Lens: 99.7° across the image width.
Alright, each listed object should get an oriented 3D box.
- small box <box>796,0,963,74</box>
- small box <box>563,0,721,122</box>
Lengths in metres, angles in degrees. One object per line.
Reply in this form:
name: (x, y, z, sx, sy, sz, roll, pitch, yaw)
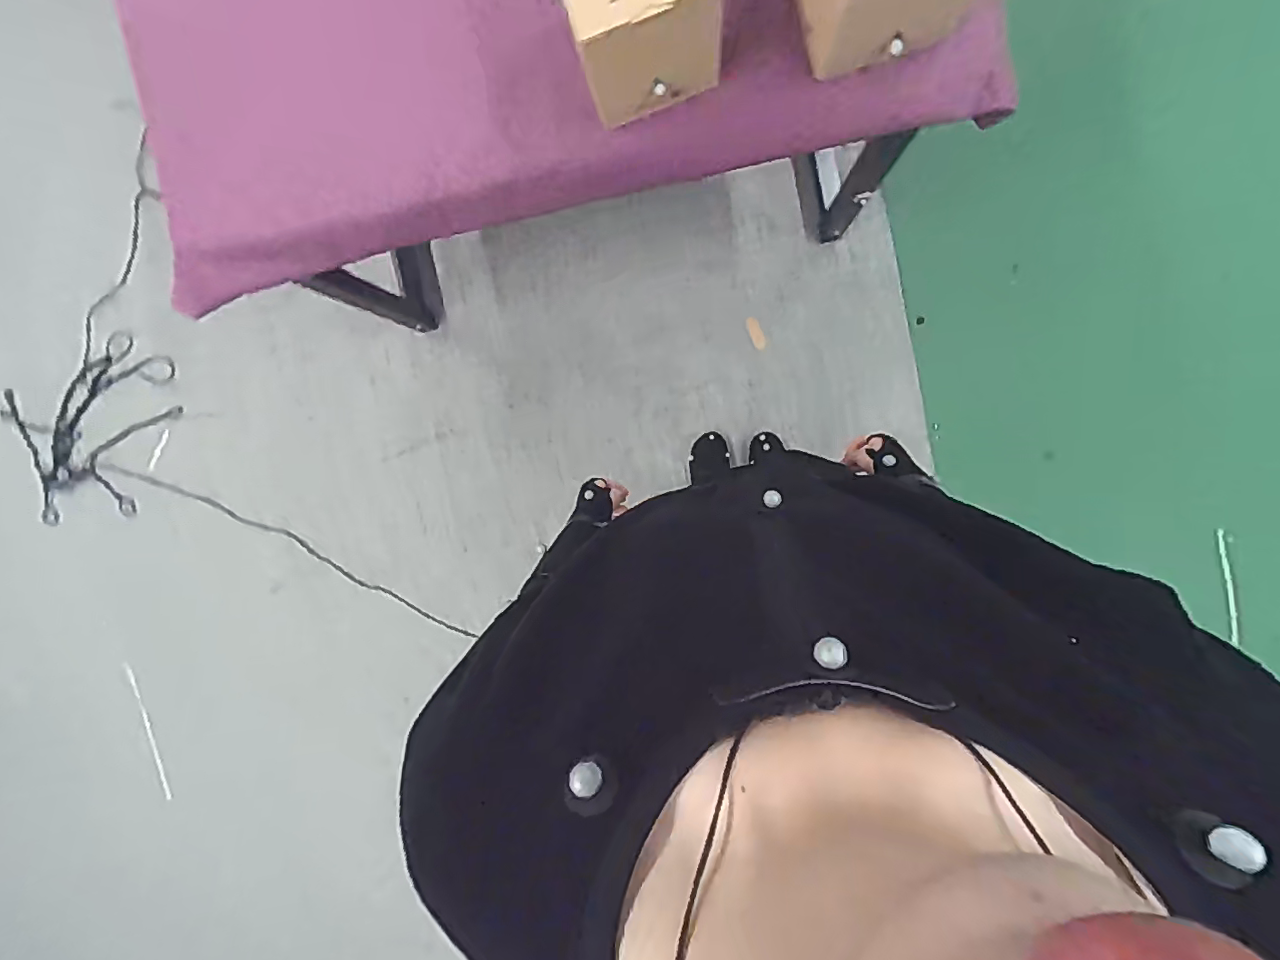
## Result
small box: (0.285, -0.623, 0.619, 0.179, 0.176, 0.168, -16, 92, 7)
small box: (-0.008, -0.588, 0.654, 0.168, 0.176, 0.179, -18, 92, 8)
